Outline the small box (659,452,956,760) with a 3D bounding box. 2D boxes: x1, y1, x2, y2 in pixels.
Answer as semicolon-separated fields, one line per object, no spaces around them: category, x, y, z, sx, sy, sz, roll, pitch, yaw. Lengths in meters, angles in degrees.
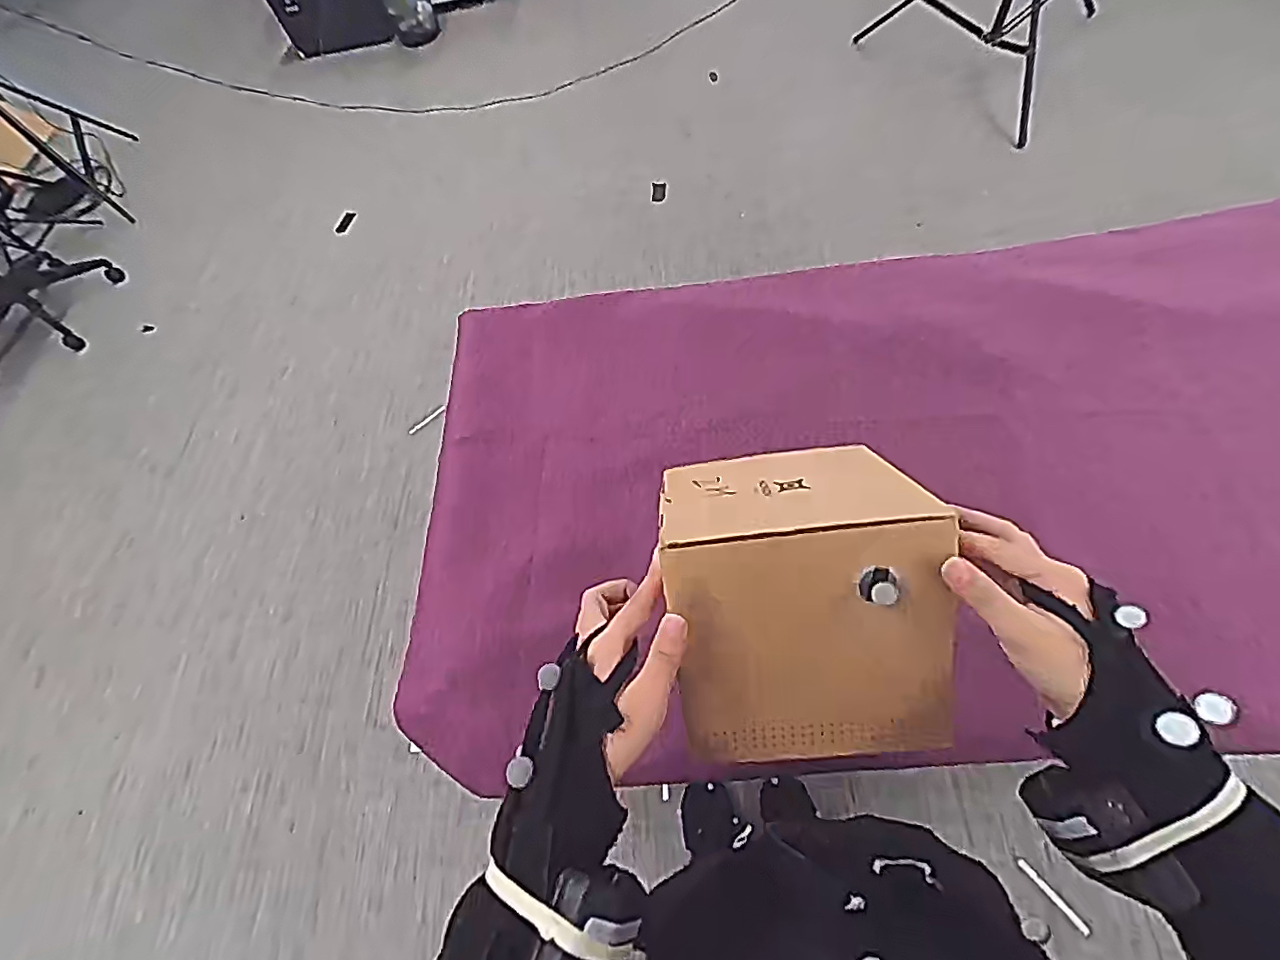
small box;0.115;0.086;0.417;0.179;0.168;0.176;-7;104;7
